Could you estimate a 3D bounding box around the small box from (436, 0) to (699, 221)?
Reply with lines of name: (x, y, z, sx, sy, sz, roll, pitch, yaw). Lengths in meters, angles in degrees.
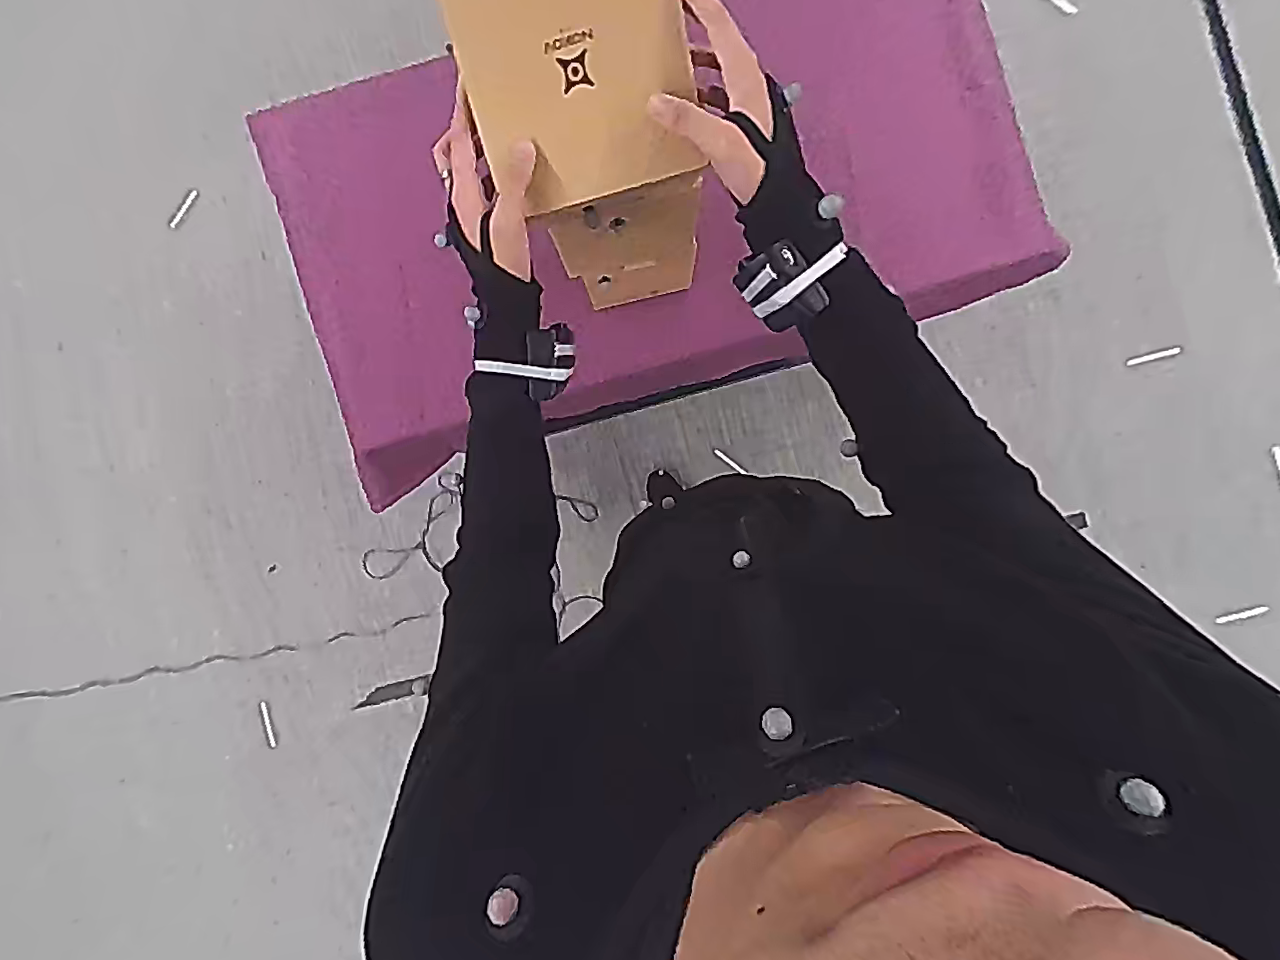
small box: (-0.047, -0.331, 0.459, 0.168, 0.176, 0.179, -12, 111, 7)

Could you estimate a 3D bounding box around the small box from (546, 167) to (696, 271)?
small box: (-0.037, -0.376, 0.657, 0.179, 0.176, 0.168, -12, 90, 1)
